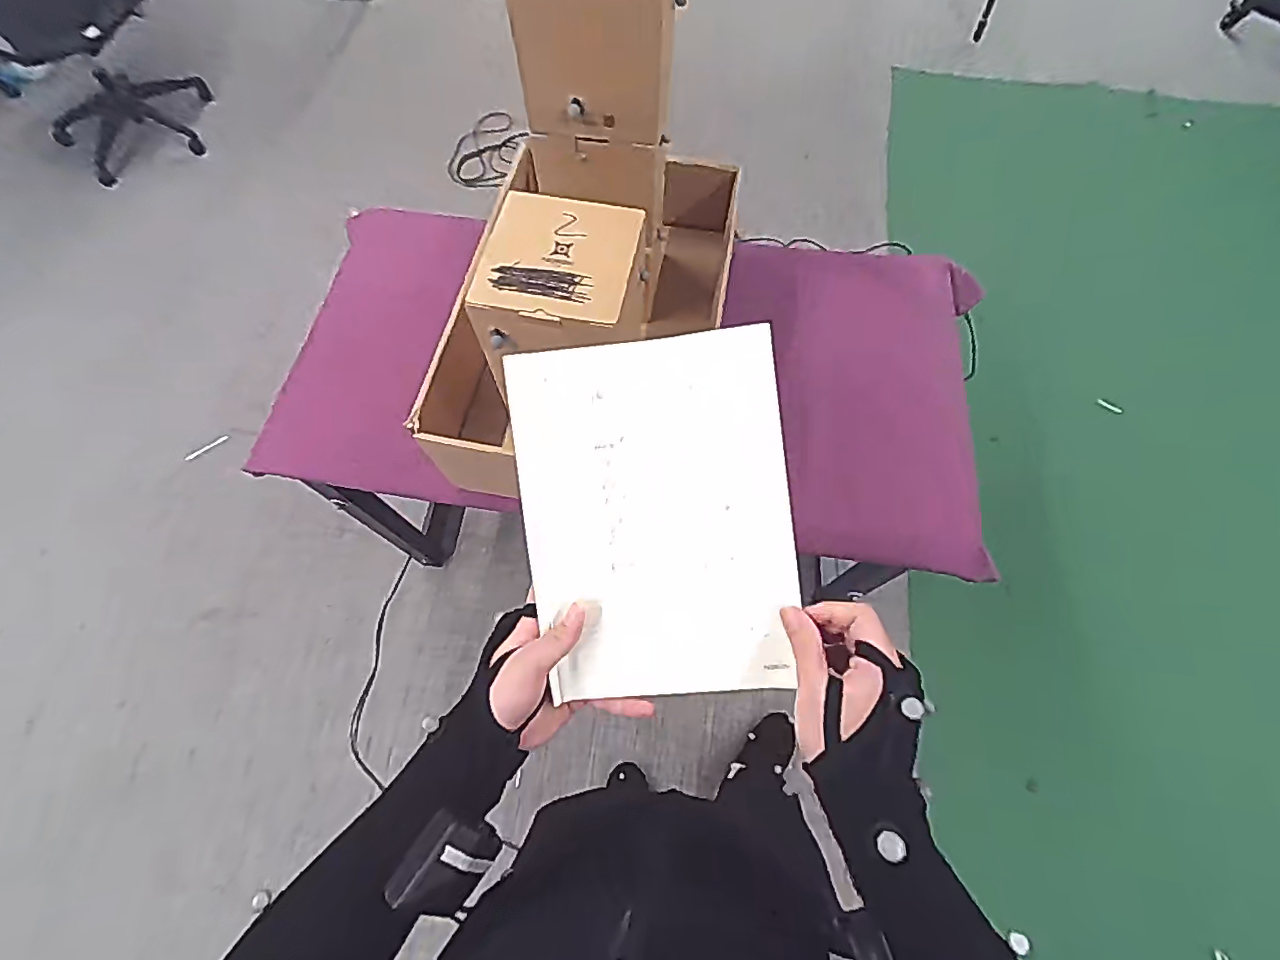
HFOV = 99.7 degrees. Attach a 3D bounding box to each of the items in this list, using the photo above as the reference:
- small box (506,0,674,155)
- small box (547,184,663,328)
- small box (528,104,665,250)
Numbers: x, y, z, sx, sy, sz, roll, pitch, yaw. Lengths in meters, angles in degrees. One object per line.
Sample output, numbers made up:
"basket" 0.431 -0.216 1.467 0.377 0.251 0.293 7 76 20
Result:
"small box" -0.050 -0.529 0.643 0.168 0.176 0.179 7 68 3
"small box" -0.055 -0.396 0.942 0.168 0.176 0.179 7 68 2
"small box" -0.053 -0.467 0.794 0.168 0.176 0.179 7 67 2
